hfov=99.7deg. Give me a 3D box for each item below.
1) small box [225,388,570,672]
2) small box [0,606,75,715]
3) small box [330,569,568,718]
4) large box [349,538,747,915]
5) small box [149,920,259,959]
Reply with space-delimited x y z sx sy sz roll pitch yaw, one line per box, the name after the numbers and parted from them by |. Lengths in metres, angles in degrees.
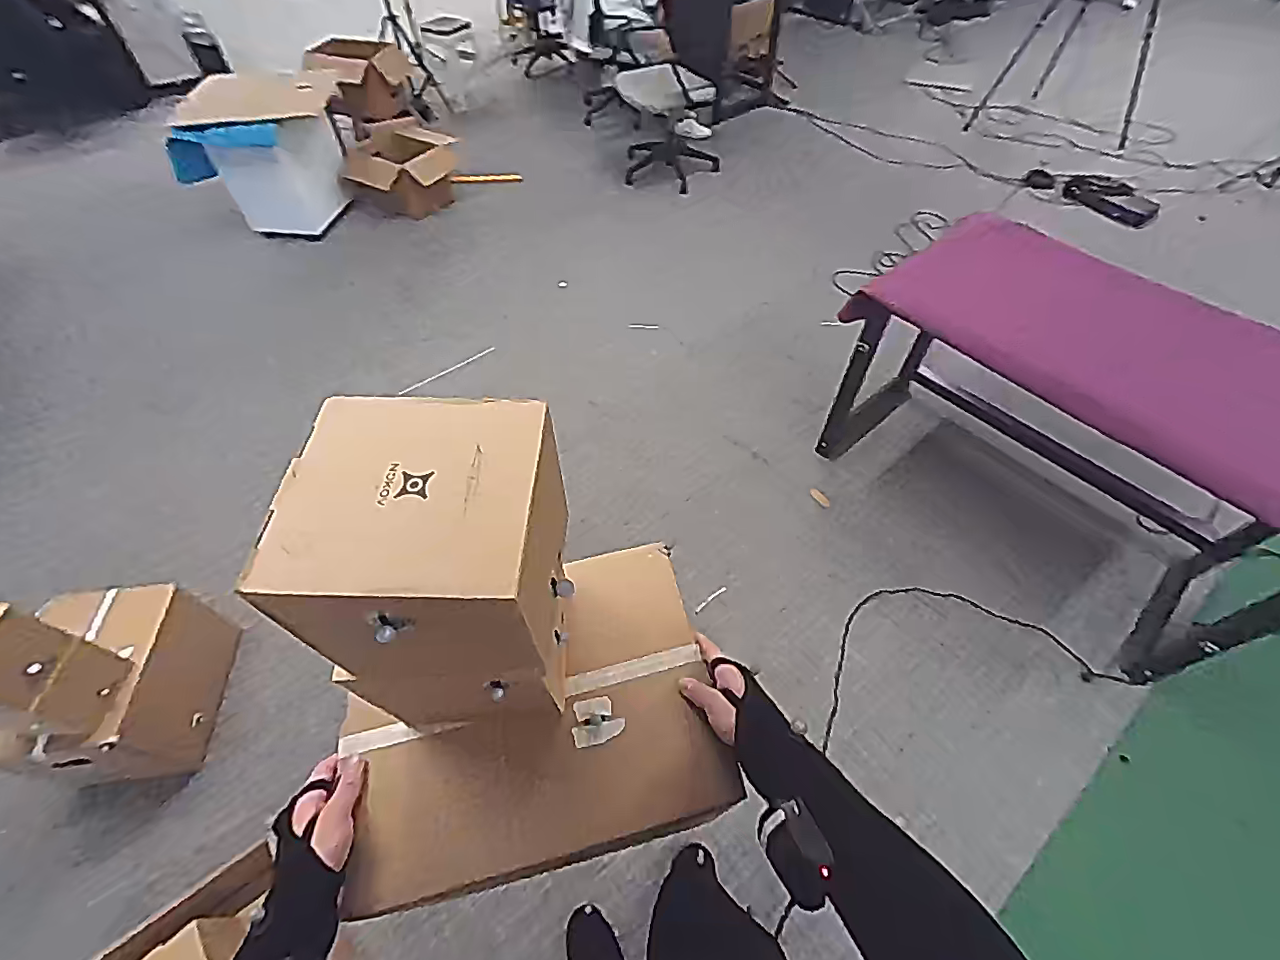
-0.160 0.046 0.431 0.179 0.176 0.168 2 55 1 | small box
-1.311 0.356 1.065 0.179 0.176 0.168 2 53 0 | small box
-0.176 0.142 0.564 0.179 0.176 0.168 -2 54 -1 | small box
-0.118 0.325 0.730 0.408 0.320 0.320 -12 56 -8 | large box
-0.893 1.030 1.081 0.168 0.176 0.179 -37 61 -23 | small box
